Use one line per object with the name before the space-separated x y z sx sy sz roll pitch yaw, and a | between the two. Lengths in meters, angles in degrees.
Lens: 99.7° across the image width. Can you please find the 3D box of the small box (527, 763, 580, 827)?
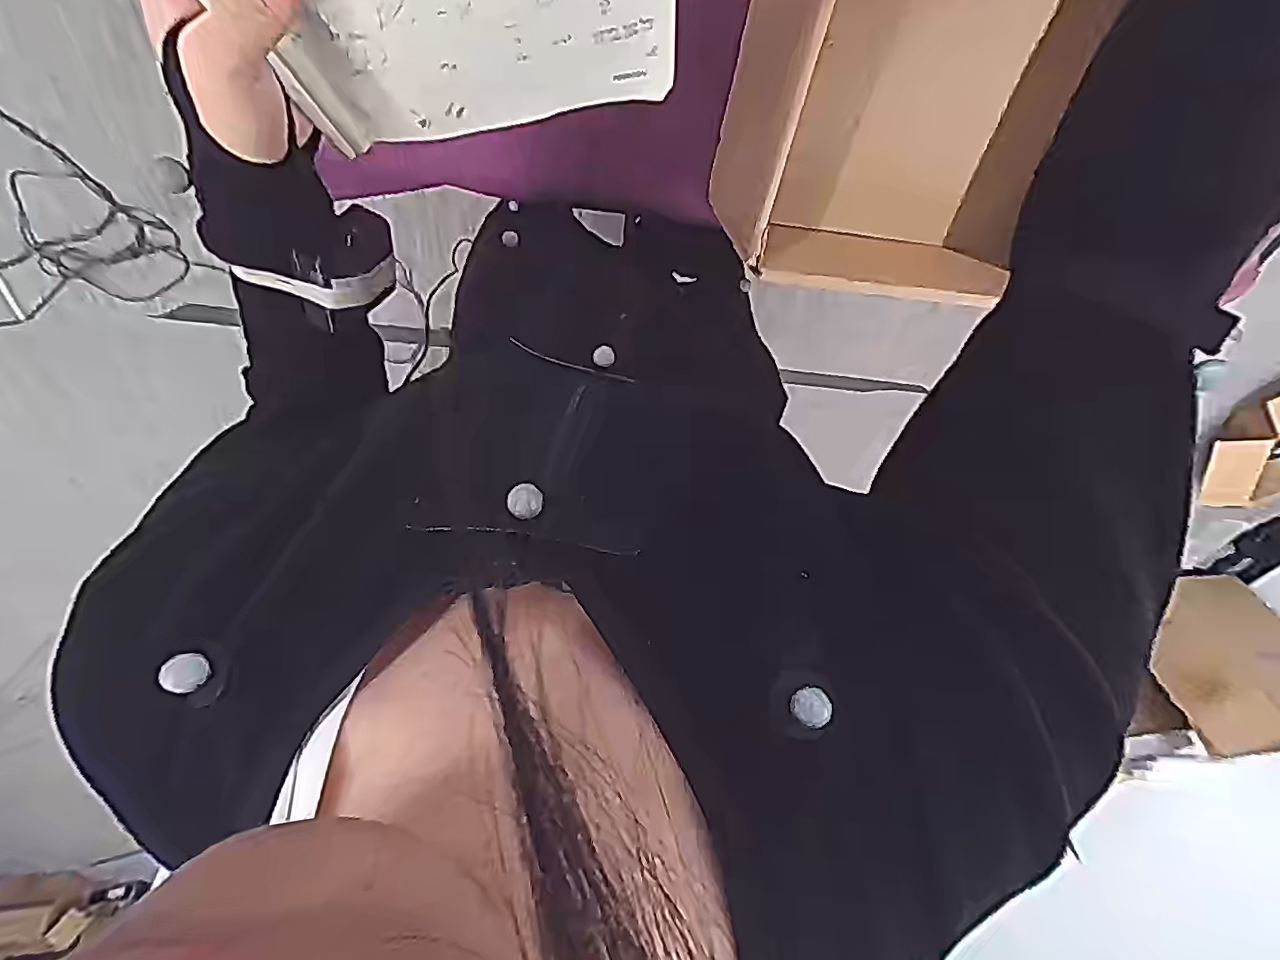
small box | -0.322 1.161 1.994 0.168 0.176 0.179 6 134 -17

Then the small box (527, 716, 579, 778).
small box | -0.343 1.035 2.100 0.179 0.176 0.168 4 135 -16
